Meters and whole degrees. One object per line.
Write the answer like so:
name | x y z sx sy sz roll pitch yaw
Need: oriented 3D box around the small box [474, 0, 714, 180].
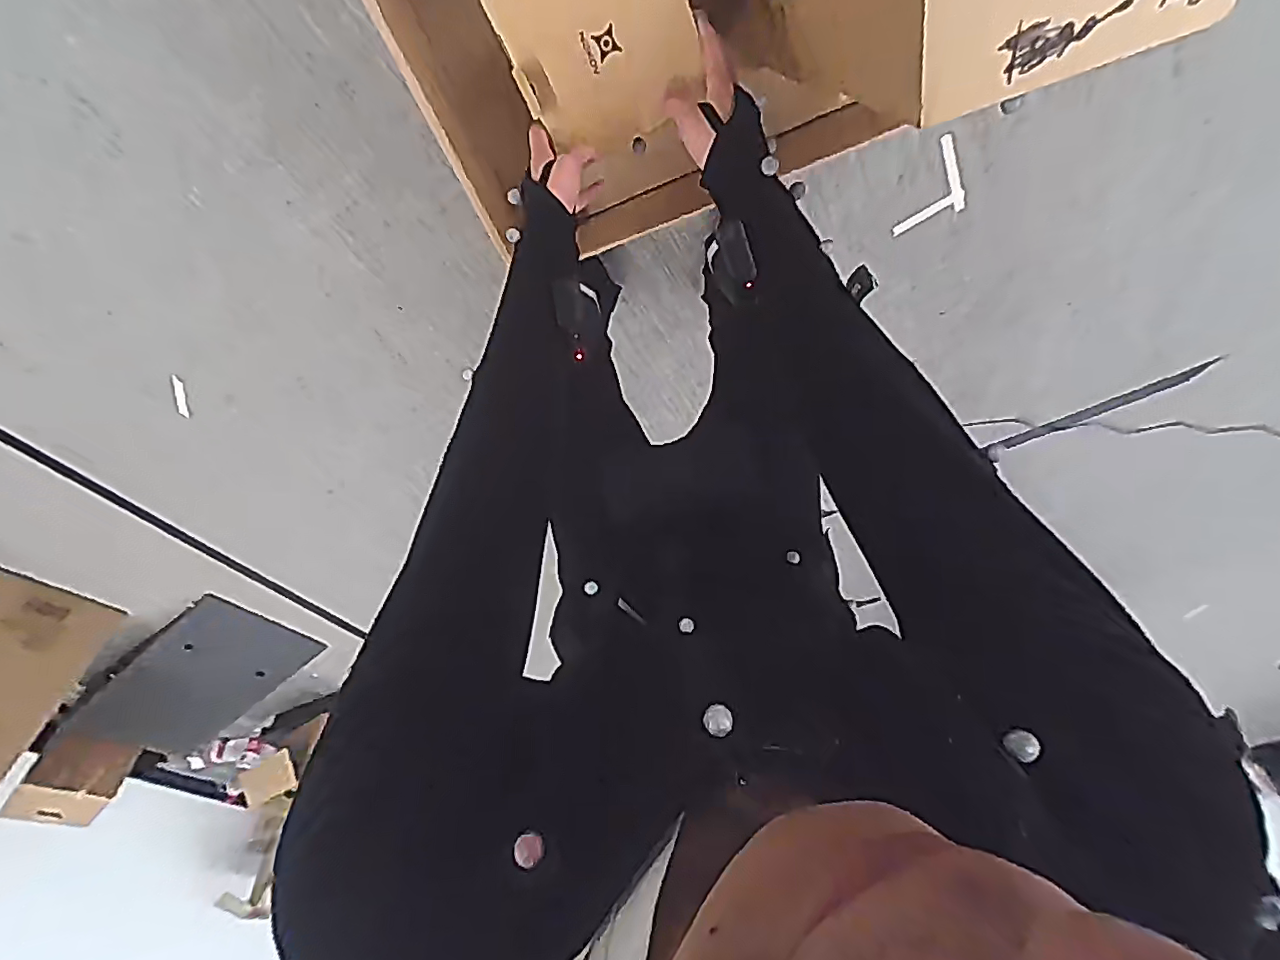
small box | -0.036 -0.453 0.566 0.179 0.176 0.168 -19 124 20

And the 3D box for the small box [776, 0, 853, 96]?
small box | 0.203 -0.448 0.435 0.179 0.176 0.168 -20 130 14

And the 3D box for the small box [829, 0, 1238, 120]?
small box | 0.210 -0.342 0.310 0.168 0.176 0.179 -14 130 11
